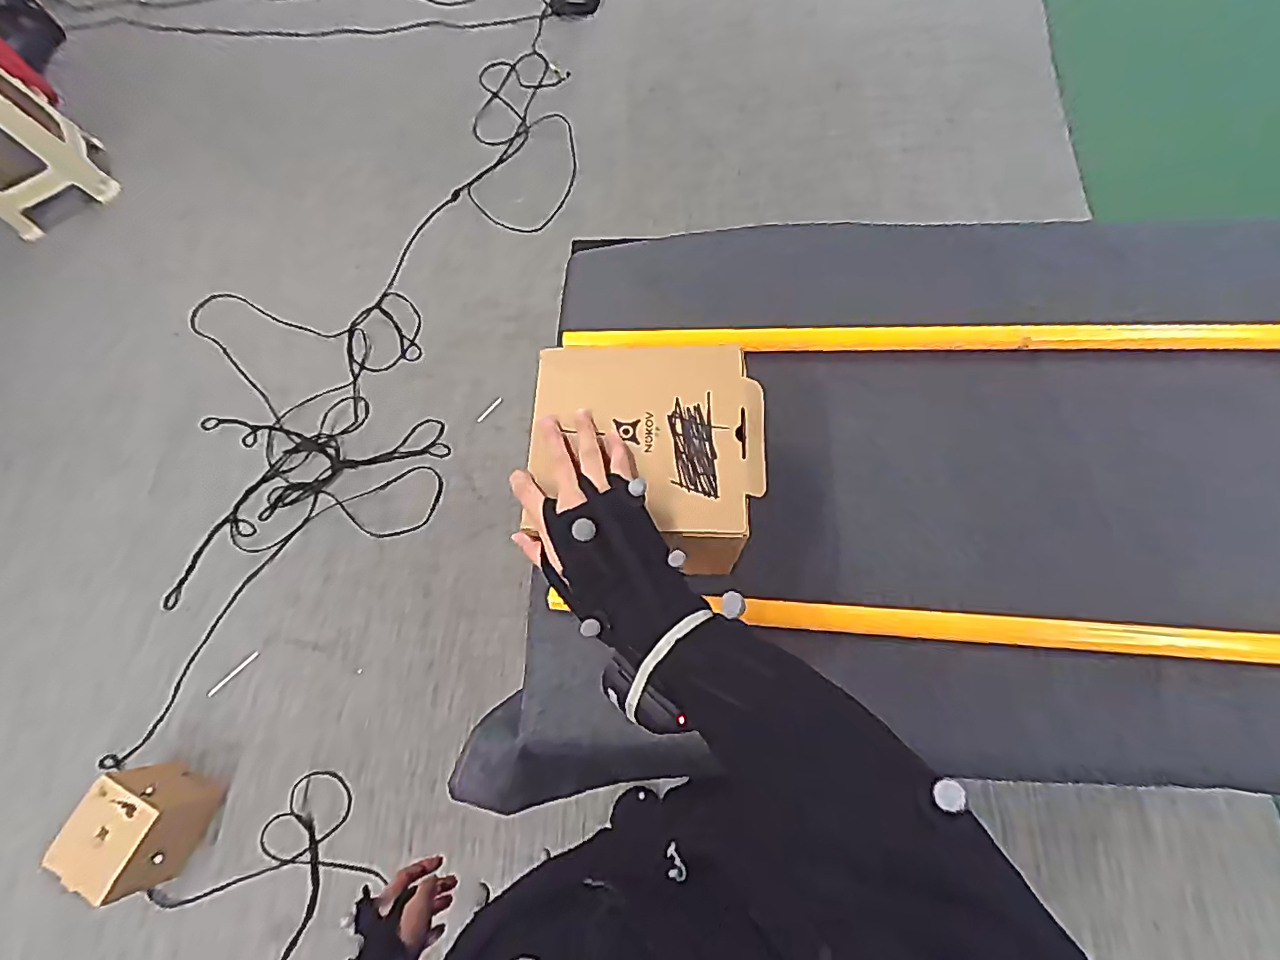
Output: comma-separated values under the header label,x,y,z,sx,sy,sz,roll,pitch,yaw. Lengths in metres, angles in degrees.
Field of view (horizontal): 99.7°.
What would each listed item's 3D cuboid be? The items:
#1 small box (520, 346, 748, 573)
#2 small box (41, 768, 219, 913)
label,x,y,z,sx,sy,sz,roll,pitch,yaw
small box,0.003,-0.010,0.511,0.179,0.176,0.168,1,70,5
small box,-1.038,0.728,1.118,0.168,0.176,0.179,22,73,13
